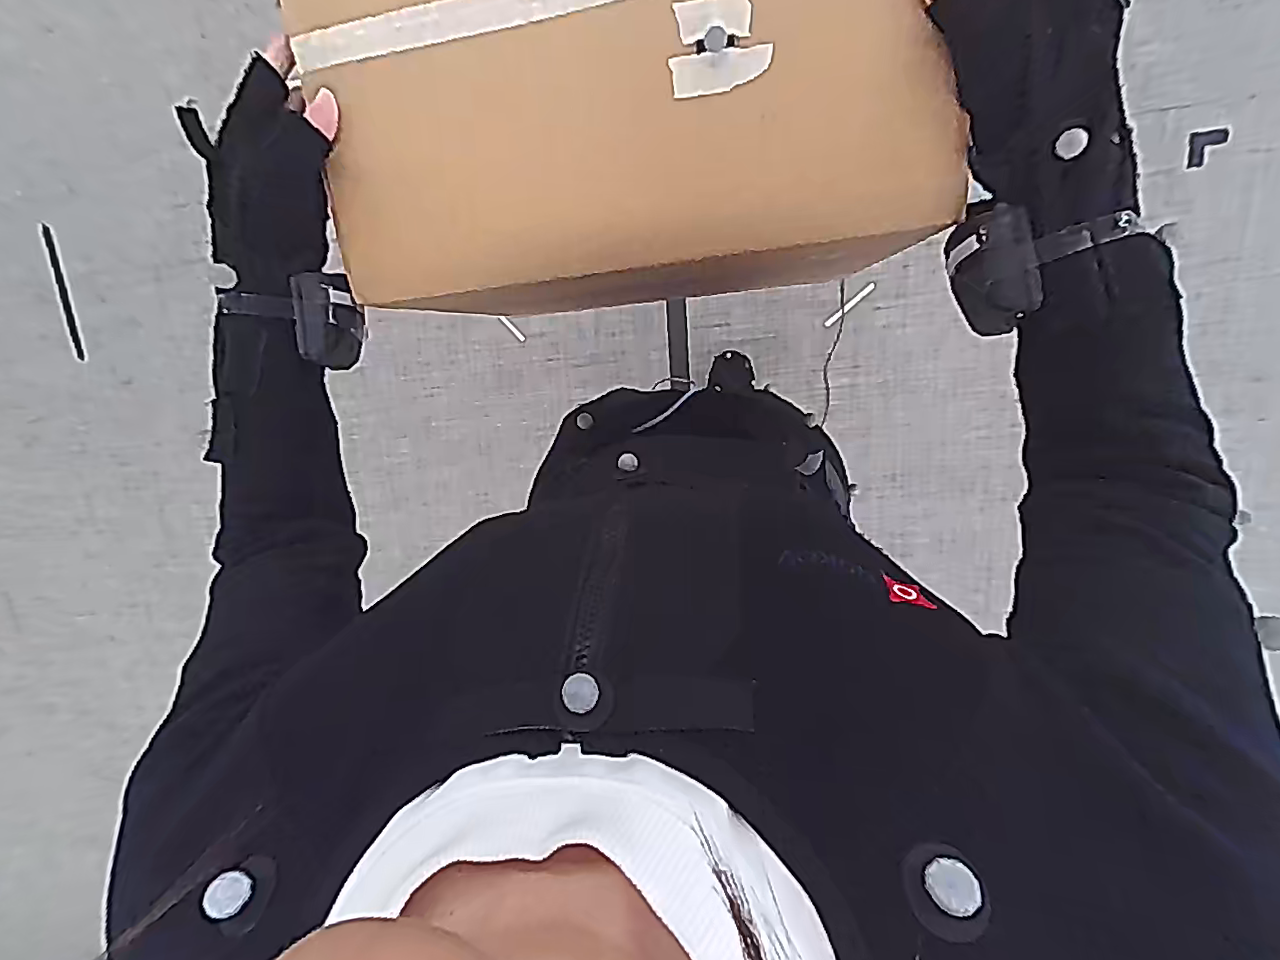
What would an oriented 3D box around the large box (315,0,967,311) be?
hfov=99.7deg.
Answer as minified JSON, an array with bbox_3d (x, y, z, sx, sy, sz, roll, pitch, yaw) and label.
[{"bbox_3d":[0.005,-0.338,0.469,0.408,0.320,0.320,-4,105,10],"label":"large box"}]
